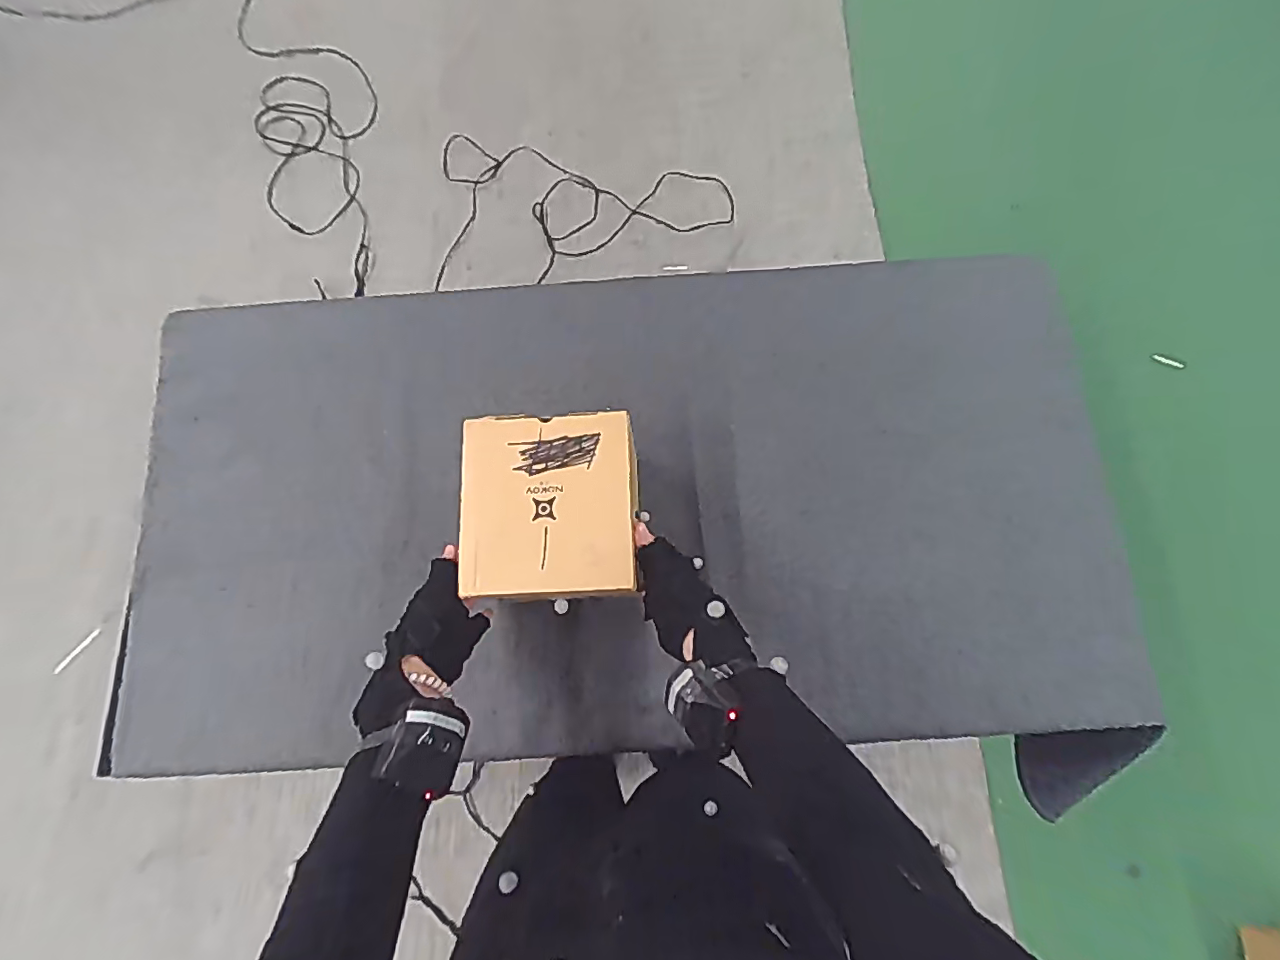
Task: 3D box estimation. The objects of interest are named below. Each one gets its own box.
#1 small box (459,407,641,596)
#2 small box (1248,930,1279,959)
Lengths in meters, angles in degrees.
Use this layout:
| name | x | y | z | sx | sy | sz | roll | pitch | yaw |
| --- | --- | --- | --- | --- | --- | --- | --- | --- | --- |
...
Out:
| name | x | y | z | sx | sy | sz | roll | pitch | yaw |
| --- | --- | --- | --- | --- | --- | --- | --- | --- | --- |
| small box | -0.086 | 0.033 | 0.597 | 0.168 | 0.176 | 0.179 | -3 | 76 | 2 |
| small box | 1.337 | 1.002 | 1.033 | 0.179 | 0.176 | 0.168 | 2 | 75 | 2 |
